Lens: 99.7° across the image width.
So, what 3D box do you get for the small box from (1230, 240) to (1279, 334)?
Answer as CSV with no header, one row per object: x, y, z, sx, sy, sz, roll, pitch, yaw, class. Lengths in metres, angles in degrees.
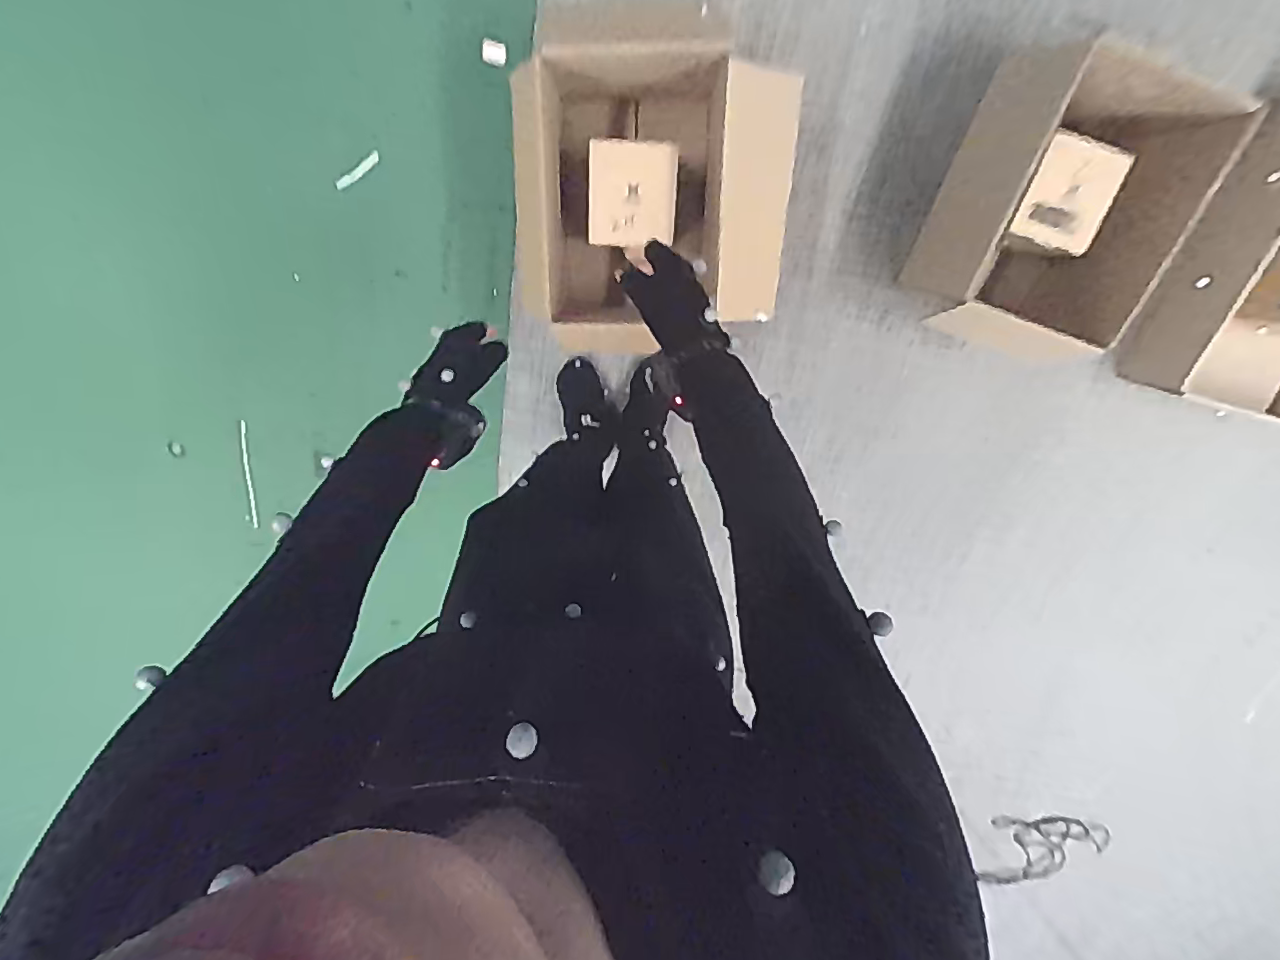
1.426,-0.399,1.132,0.168,0.176,0.179,12,112,-6,small box
